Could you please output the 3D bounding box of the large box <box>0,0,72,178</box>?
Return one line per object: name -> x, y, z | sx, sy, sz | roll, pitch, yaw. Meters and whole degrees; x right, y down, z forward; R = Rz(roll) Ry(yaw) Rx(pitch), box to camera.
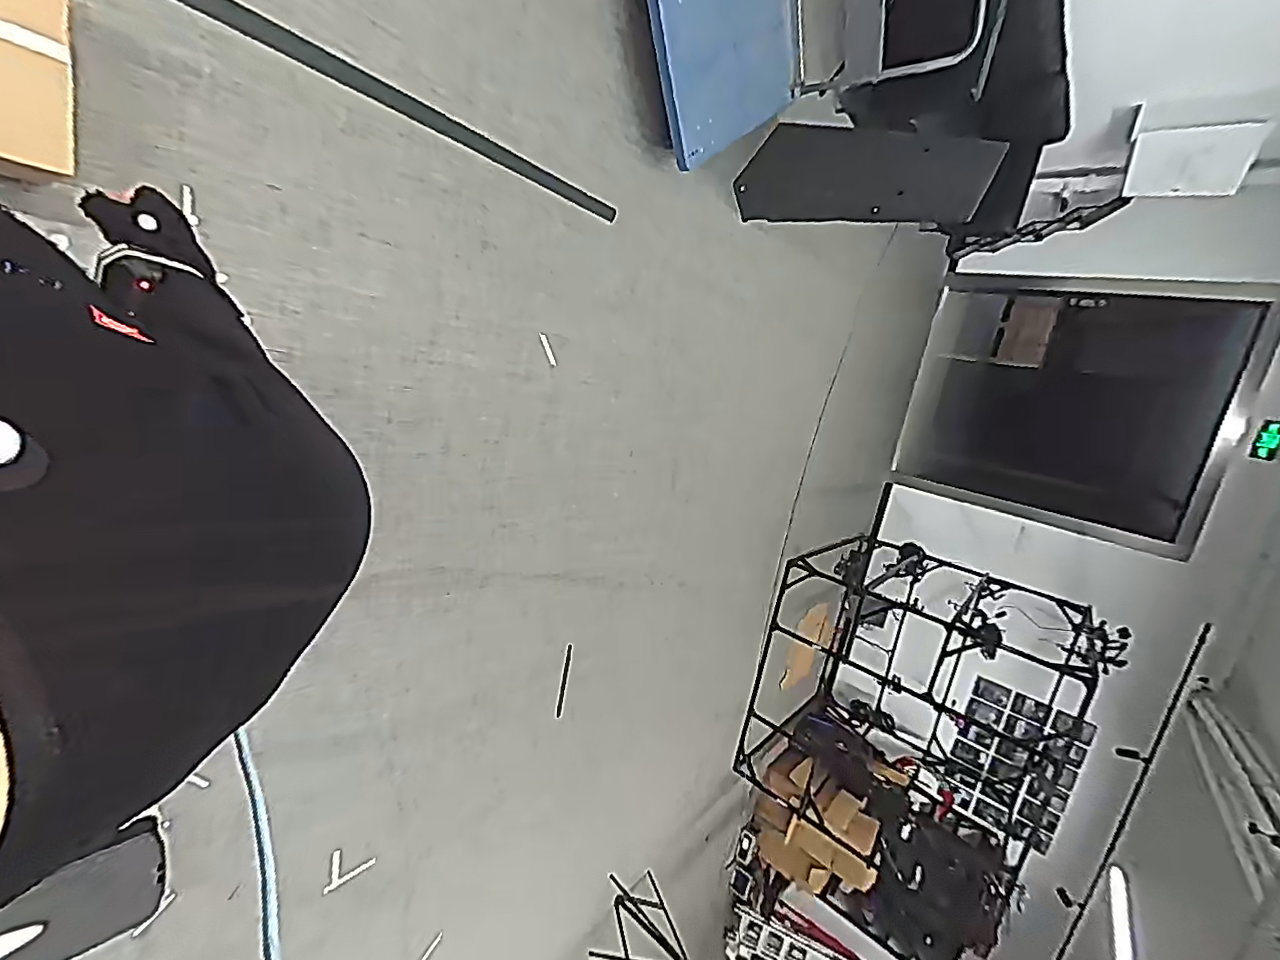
large box -> -1.038, -0.623, 0.681 | 0.408, 0.320, 0.320 | -5, 111, -53
